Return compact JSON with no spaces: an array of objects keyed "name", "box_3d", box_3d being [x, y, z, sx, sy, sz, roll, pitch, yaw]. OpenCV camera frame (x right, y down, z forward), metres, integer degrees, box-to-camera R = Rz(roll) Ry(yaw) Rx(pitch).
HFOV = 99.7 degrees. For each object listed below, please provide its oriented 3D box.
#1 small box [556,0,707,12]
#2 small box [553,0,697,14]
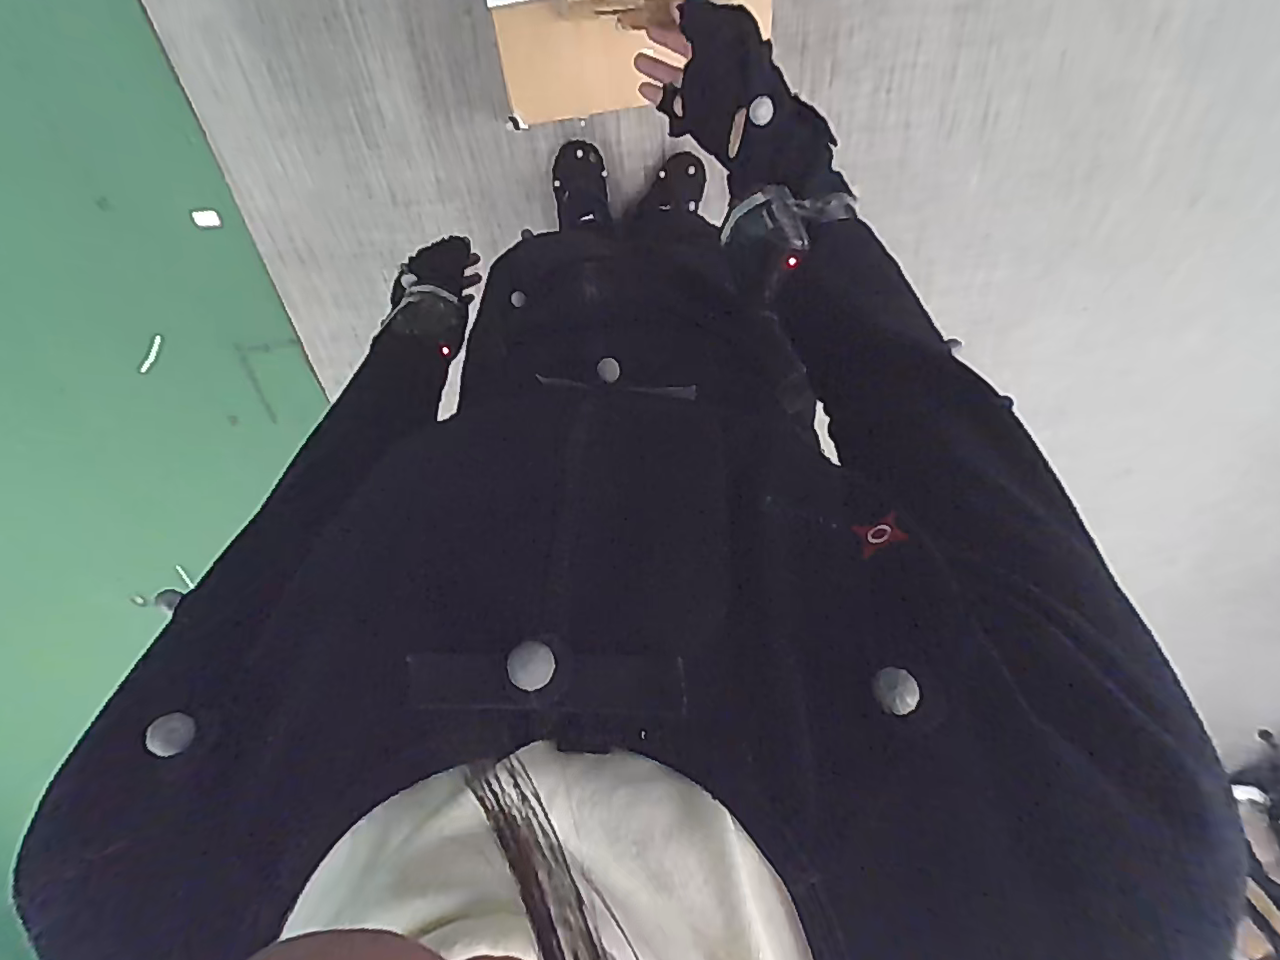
[{"name":"small box","box_3d":[-0.012,-0.582,0.533,0.168,0.176,0.179,-8,129,-3]},{"name":"small box","box_3d":[-0.025,-0.681,0.657,0.179,0.176,0.168,-4,129,-5]}]
